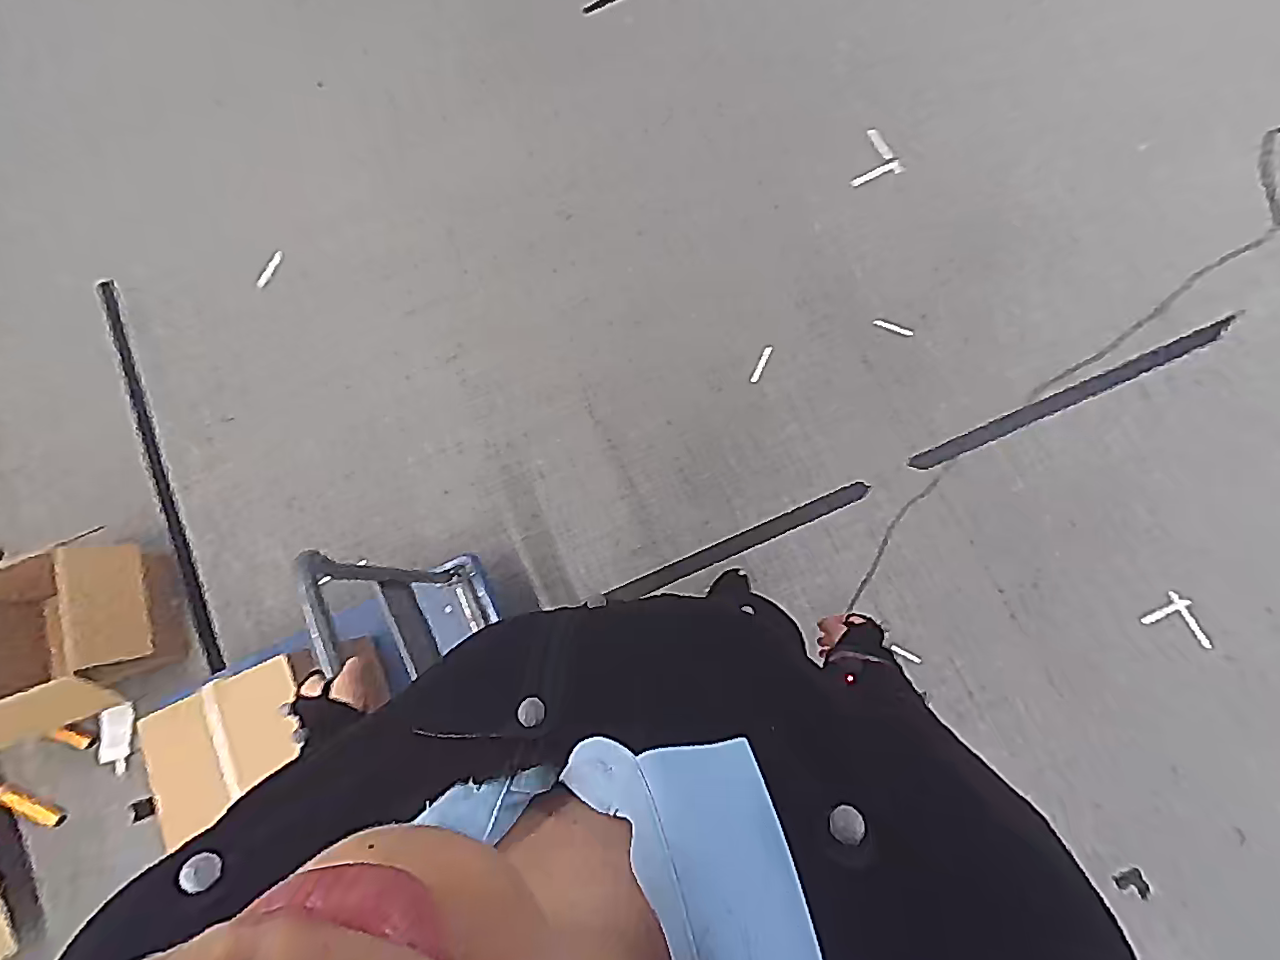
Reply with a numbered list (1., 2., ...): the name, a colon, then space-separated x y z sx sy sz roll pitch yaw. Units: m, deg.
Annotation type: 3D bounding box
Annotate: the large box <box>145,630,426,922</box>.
1. large box: -0.727 0.585 1.158 0.320 0.320 0.408 -25 80 0
